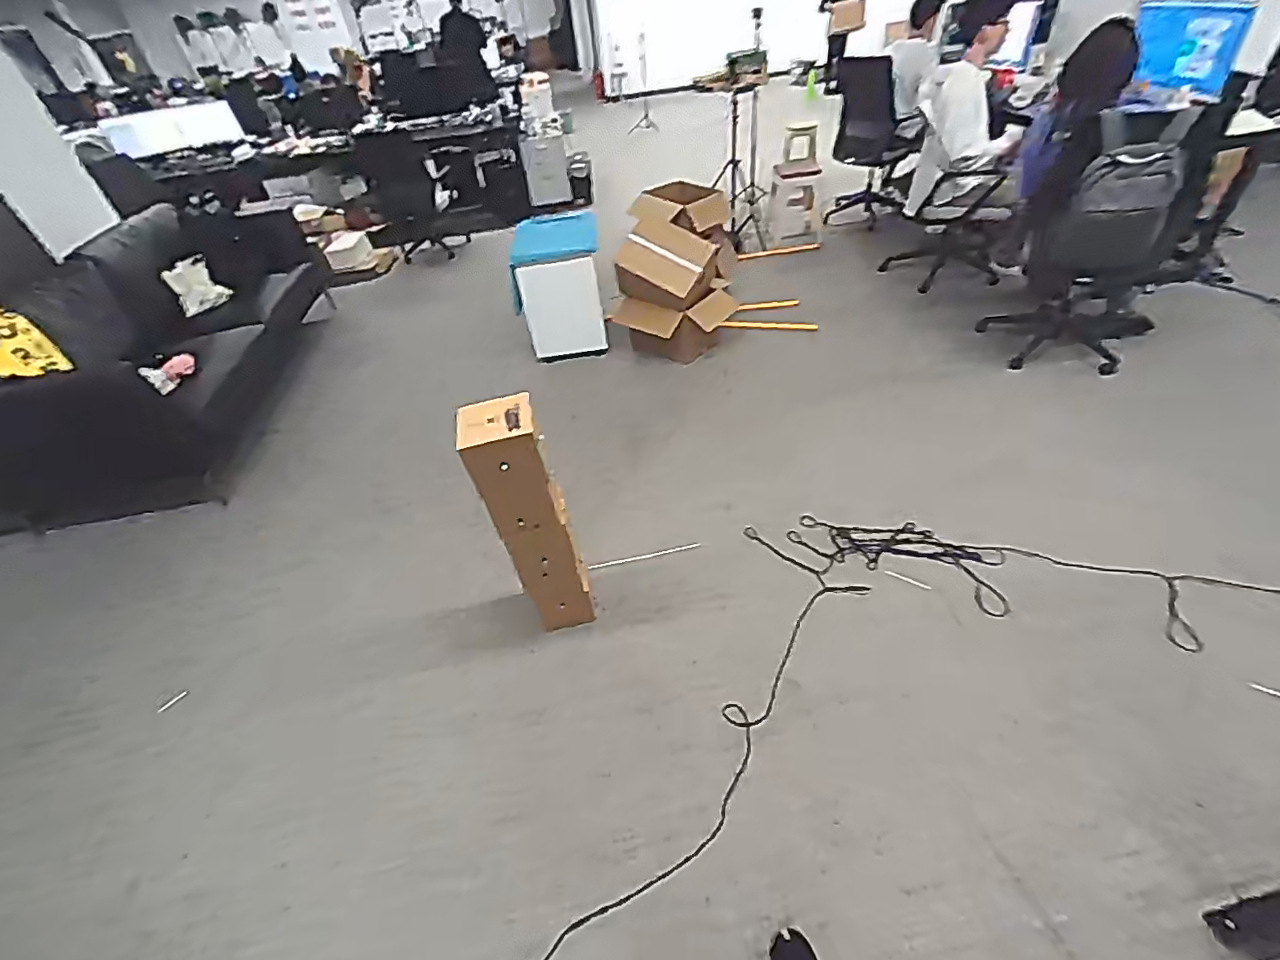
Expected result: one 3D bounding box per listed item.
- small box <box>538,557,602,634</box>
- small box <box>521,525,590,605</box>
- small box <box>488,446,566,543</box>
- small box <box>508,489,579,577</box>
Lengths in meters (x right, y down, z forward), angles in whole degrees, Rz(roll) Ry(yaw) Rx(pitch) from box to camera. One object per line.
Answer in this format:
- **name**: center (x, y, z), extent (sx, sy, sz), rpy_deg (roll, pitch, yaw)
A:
- **small box**: center (-0.231, 0.386, 1.786), extent (0.179, 0.176, 0.168), rpy_deg (-11, 42, -3)
- **small box**: center (-0.262, 0.267, 1.677), extent (0.179, 0.176, 0.168), rpy_deg (-12, 43, -2)
- **small box**: center (-0.300, 0.039, 1.446), extent (0.168, 0.176, 0.179), rpy_deg (-13, 43, -3)
- **small box**: center (-0.275, 0.155, 1.558), extent (0.179, 0.176, 0.168), rpy_deg (-13, 42, -4)
